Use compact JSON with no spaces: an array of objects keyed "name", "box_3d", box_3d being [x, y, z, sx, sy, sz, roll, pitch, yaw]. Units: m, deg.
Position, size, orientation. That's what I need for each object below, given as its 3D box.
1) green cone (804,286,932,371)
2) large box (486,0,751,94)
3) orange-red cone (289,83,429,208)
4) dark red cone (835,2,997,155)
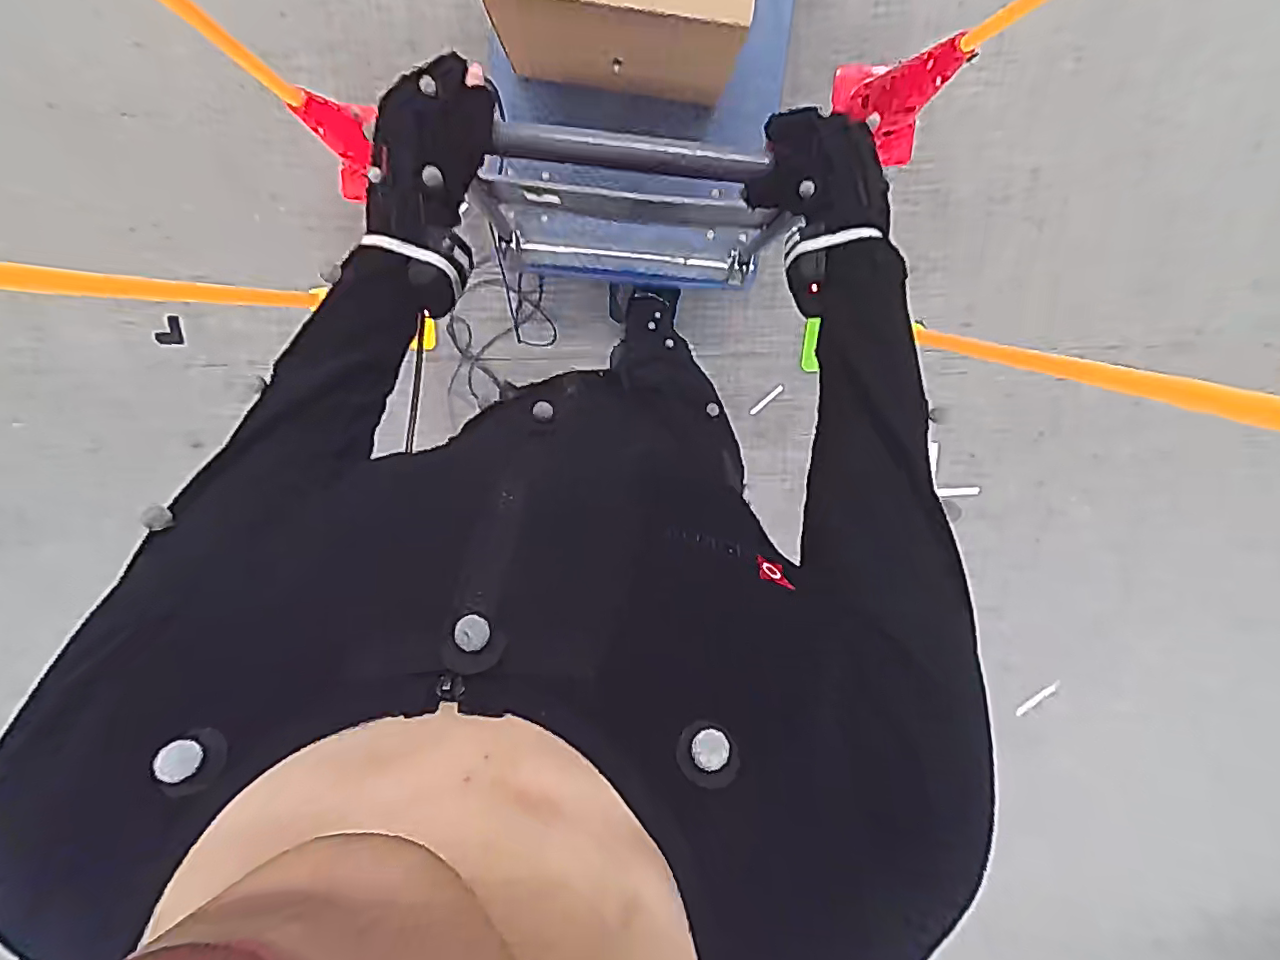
[{"name":"green cone","box_3d":[0.529,-0.335,1.206,0.202,0.368,0.200,3,106,-3]},{"name":"large box","box_3d":[-0.023,-0.884,0.887,0.408,0.320,0.320,6,107,-3]},{"name":"orange-red cone","box_3d":[-0.584,-0.702,1.084,0.198,0.360,0.199,6,105,-4]},{"name":"dark red cone","box_3d":[0.546,-0.795,1.054,0.201,0.394,0.202,-1,107,-3]}]
